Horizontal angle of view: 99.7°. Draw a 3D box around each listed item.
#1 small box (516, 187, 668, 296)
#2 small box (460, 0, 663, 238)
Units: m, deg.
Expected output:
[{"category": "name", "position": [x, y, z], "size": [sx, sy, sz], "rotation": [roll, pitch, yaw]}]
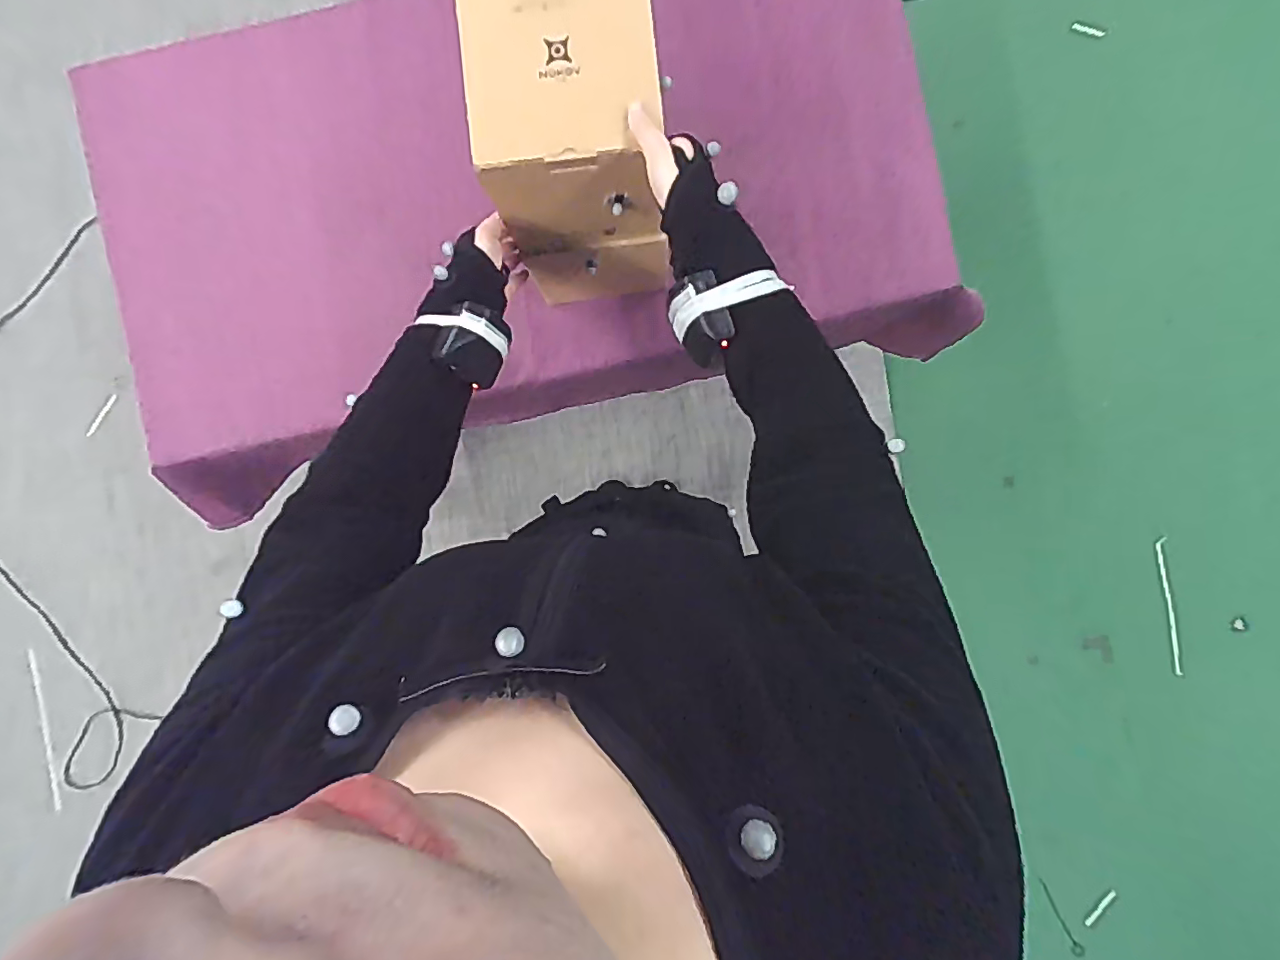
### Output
[{"category": "small box", "position": [-0.057, -0.351, 0.700], "size": [0.179, 0.176, 0.168], "rotation": [-6, 91, 3]}, {"category": "small box", "position": [-0.065, -0.359, 0.537], "size": [0.168, 0.176, 0.179], "rotation": [-5, 89, 2]}]
